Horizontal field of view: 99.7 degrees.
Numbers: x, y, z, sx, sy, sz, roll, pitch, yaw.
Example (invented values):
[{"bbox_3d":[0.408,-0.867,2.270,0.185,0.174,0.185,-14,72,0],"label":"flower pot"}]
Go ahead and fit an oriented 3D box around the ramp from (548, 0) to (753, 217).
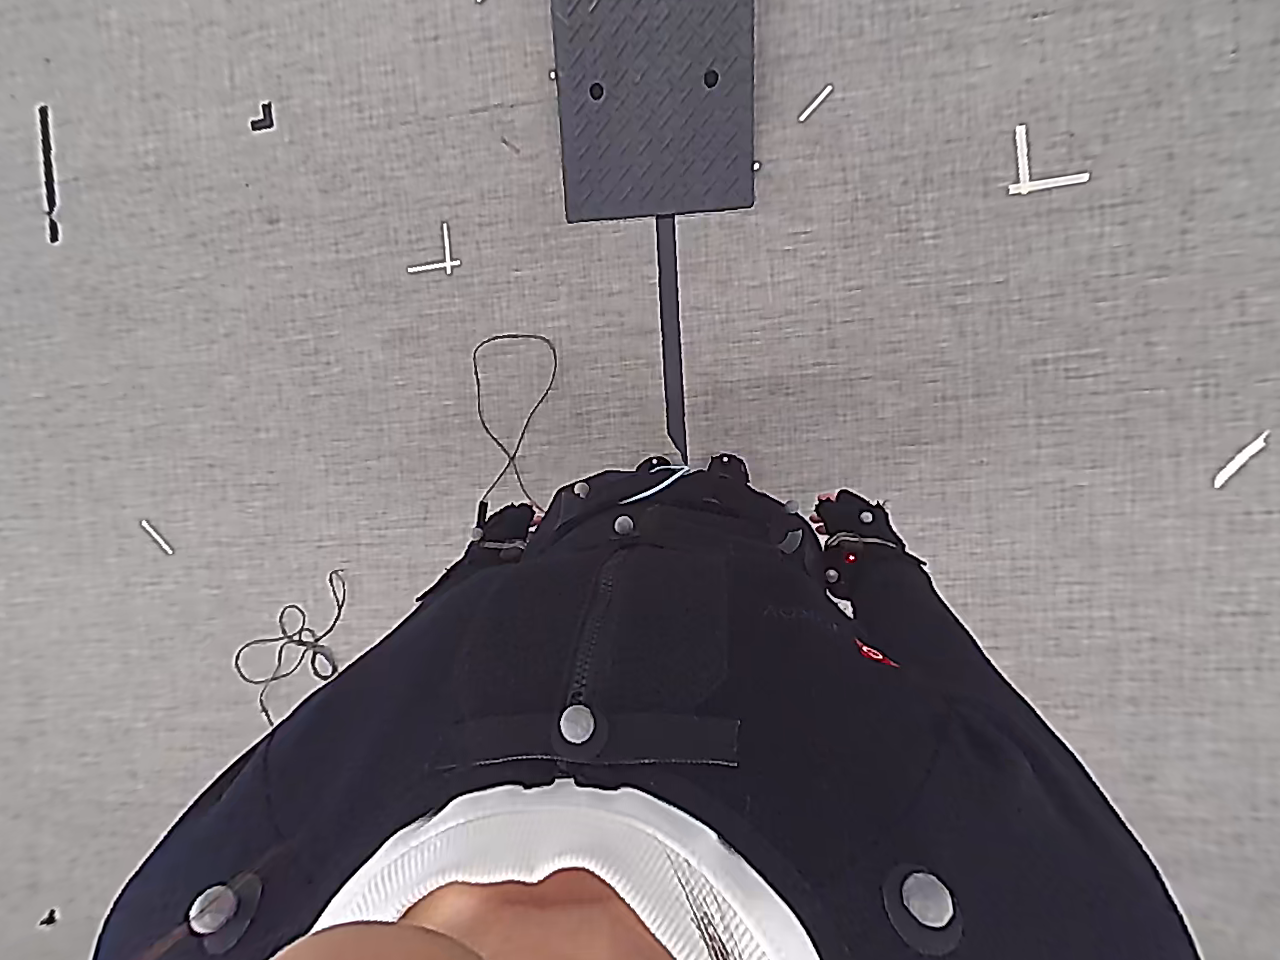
[{"bbox_3d":[0.020,-1.186,1.285,0.509,0.206,0.991,-3,94,7],"label":"ramp"}]
